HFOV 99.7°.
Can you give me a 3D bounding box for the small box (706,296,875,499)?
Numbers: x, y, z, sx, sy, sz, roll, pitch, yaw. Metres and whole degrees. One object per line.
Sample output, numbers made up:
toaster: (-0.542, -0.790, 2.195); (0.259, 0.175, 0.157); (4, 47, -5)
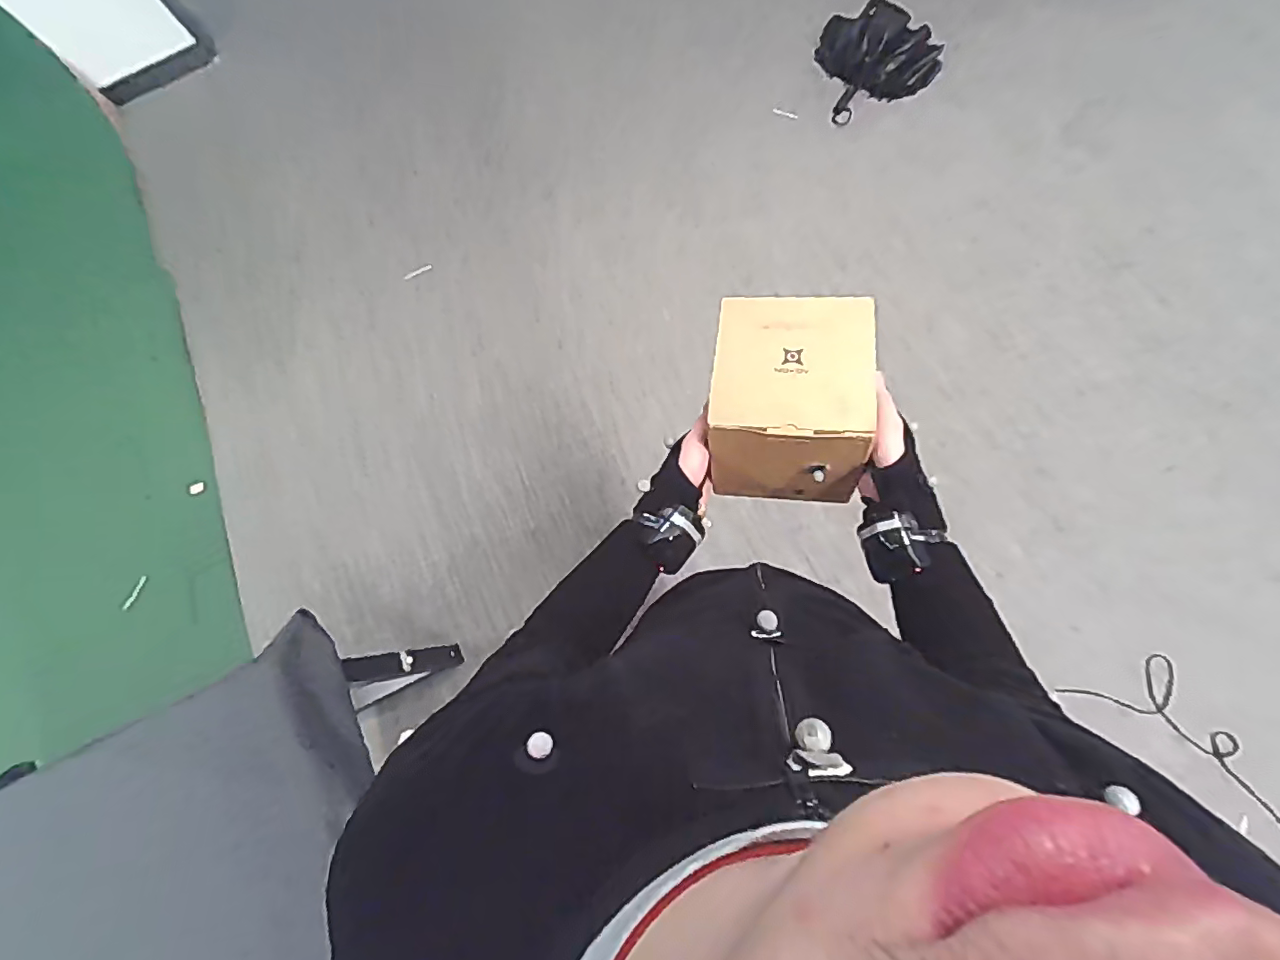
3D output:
small box: (0.172, -0.091, 0.638); (0.168, 0.176, 0.179); (5, 63, 11)
